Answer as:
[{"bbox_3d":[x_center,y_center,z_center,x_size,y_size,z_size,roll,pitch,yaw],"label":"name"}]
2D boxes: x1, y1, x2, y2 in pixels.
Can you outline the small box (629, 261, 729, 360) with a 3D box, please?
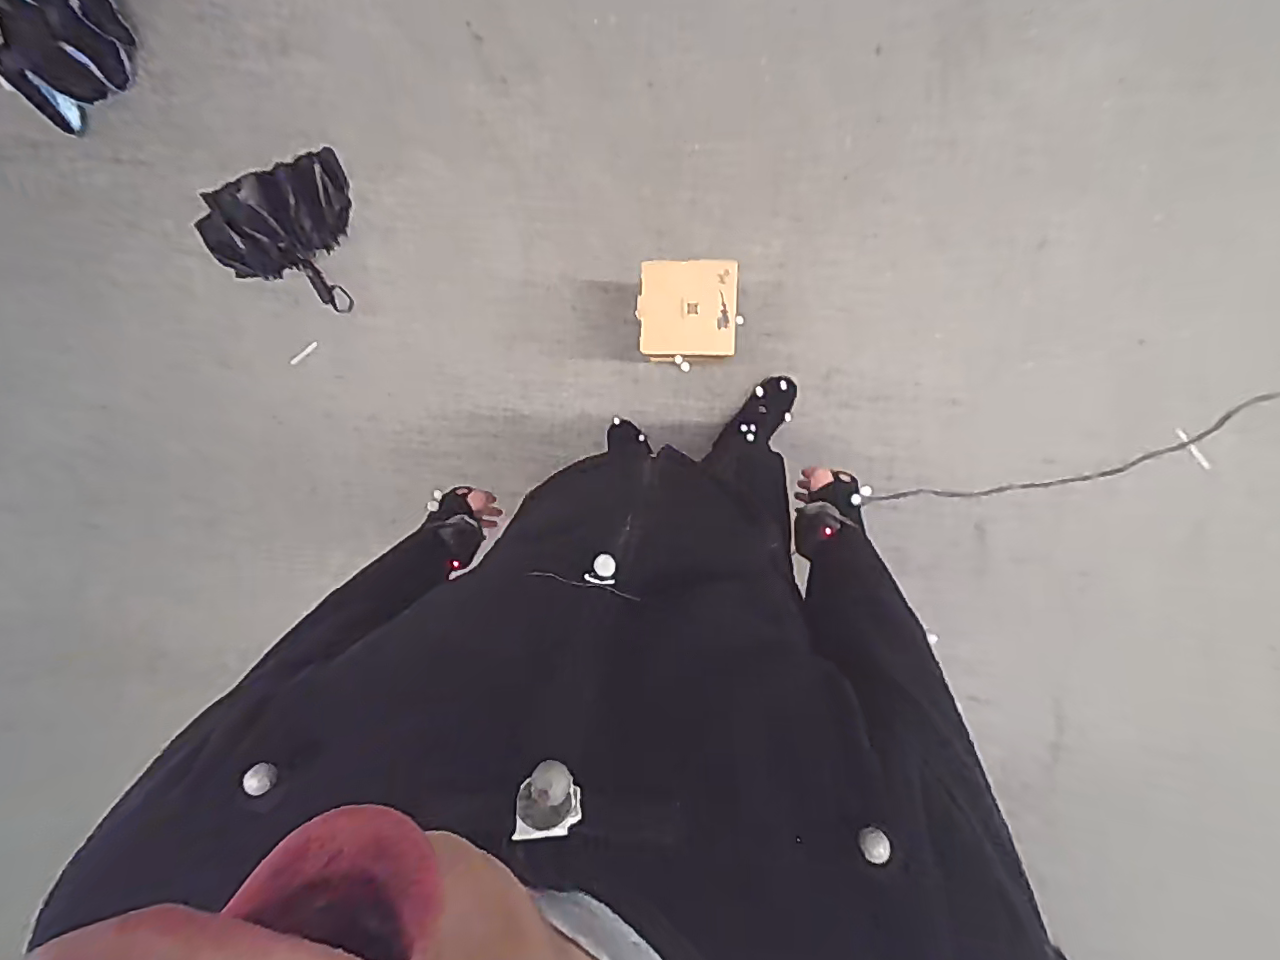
[{"bbox_3d":[0.078,-0.325,1.065,0.179,0.176,0.168,3,100,5],"label":"small box"}]
